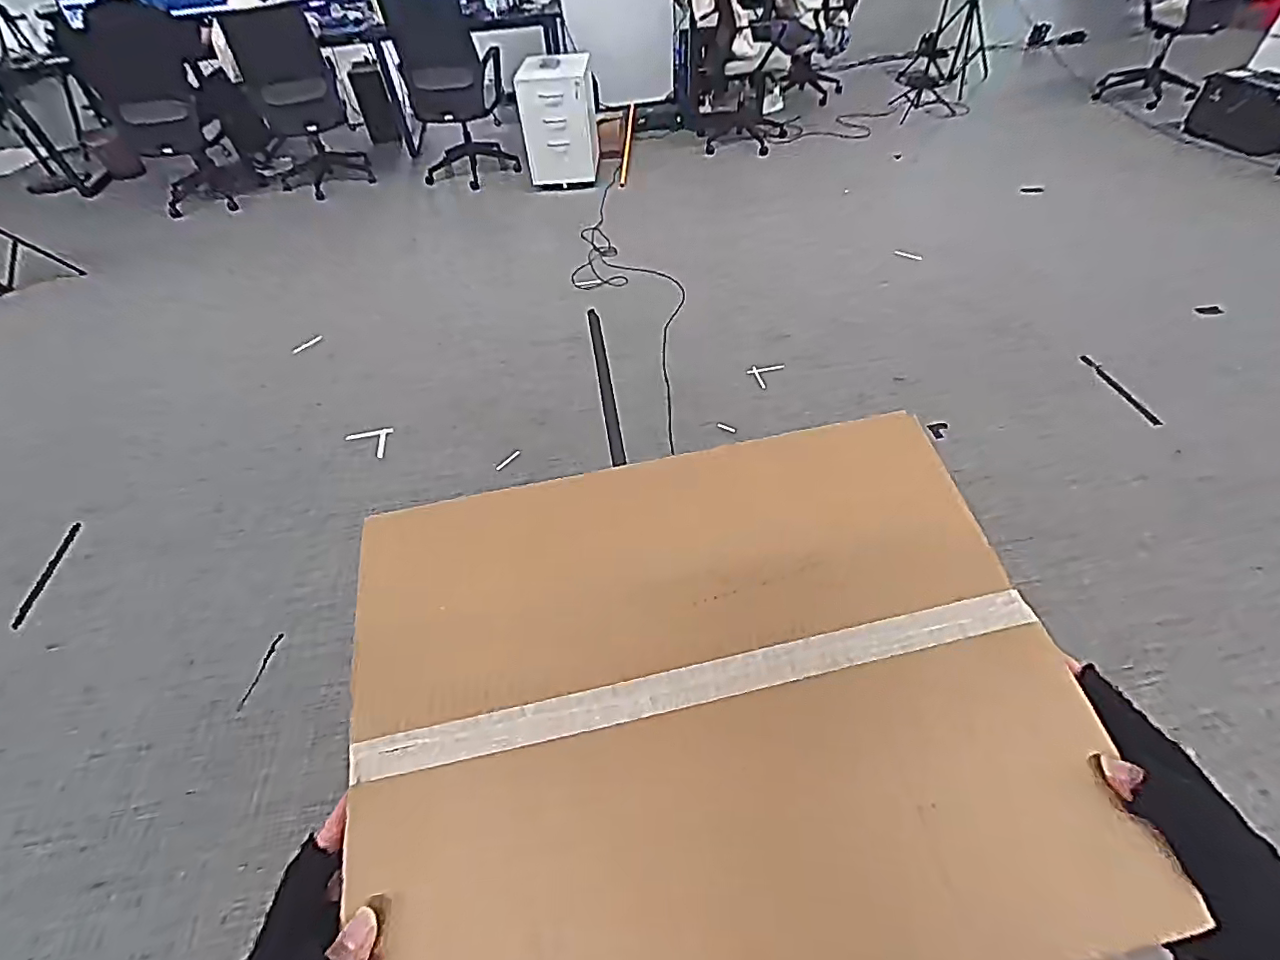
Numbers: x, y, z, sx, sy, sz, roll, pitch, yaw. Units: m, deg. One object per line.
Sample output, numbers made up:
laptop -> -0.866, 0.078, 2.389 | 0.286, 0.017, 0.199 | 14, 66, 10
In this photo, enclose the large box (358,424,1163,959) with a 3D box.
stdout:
large box -> 0.044, 0.200, 0.452 | 0.408, 0.320, 0.320 | -12, 59, -4
